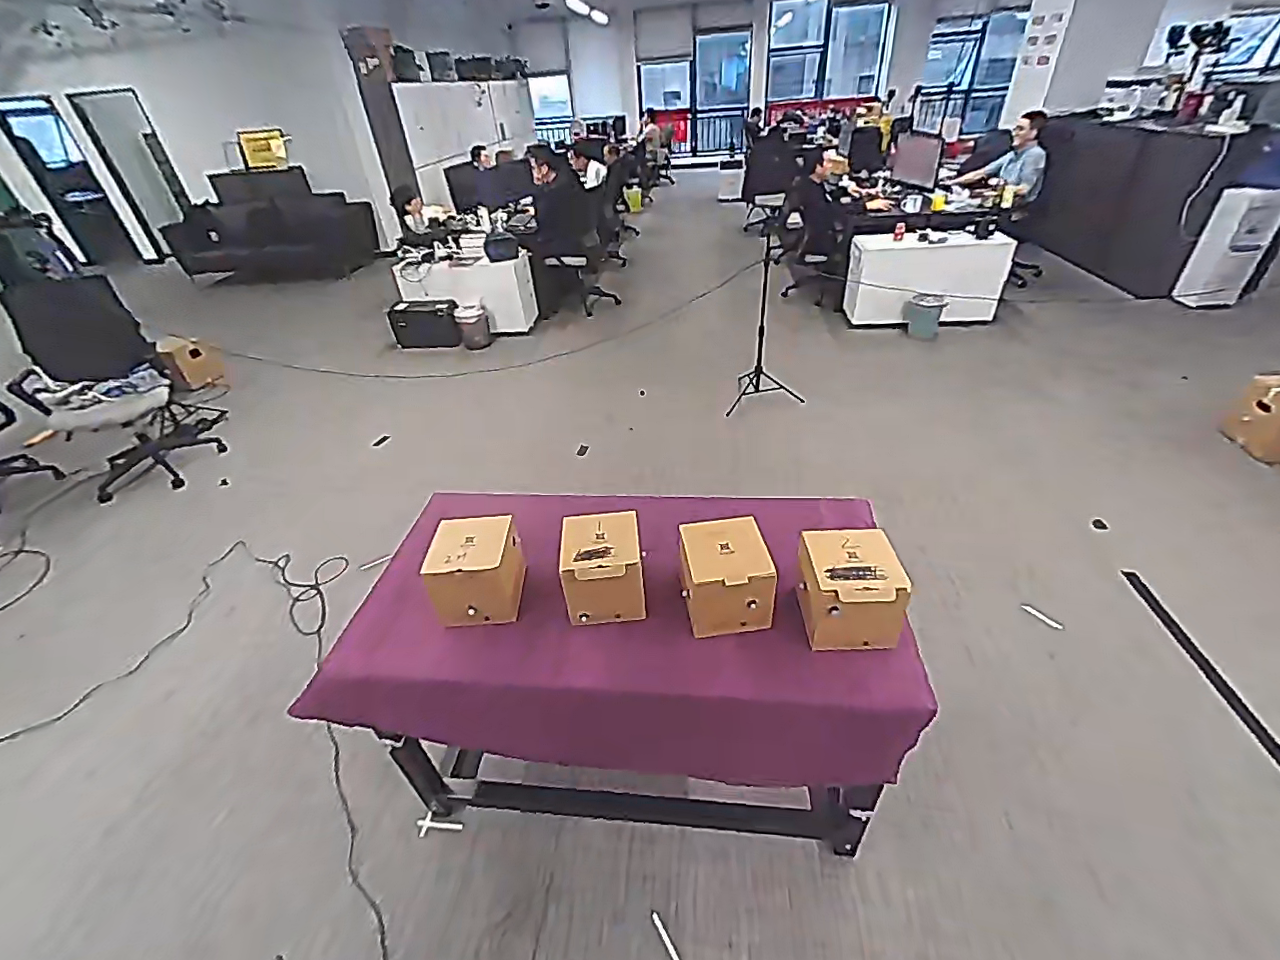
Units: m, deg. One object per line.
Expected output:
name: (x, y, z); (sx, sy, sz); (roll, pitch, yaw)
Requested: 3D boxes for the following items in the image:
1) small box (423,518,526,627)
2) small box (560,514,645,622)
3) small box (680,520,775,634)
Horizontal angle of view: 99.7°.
small box: (-0.361, 0.207, 1.216); (0.168, 0.176, 0.179); (-4, 36, 1)
small box: (-0.078, 0.199, 1.197); (0.168, 0.176, 0.179); (-5, 35, -1)
small box: (0.180, 0.212, 1.153); (0.168, 0.176, 0.179); (-6, 35, -2)
